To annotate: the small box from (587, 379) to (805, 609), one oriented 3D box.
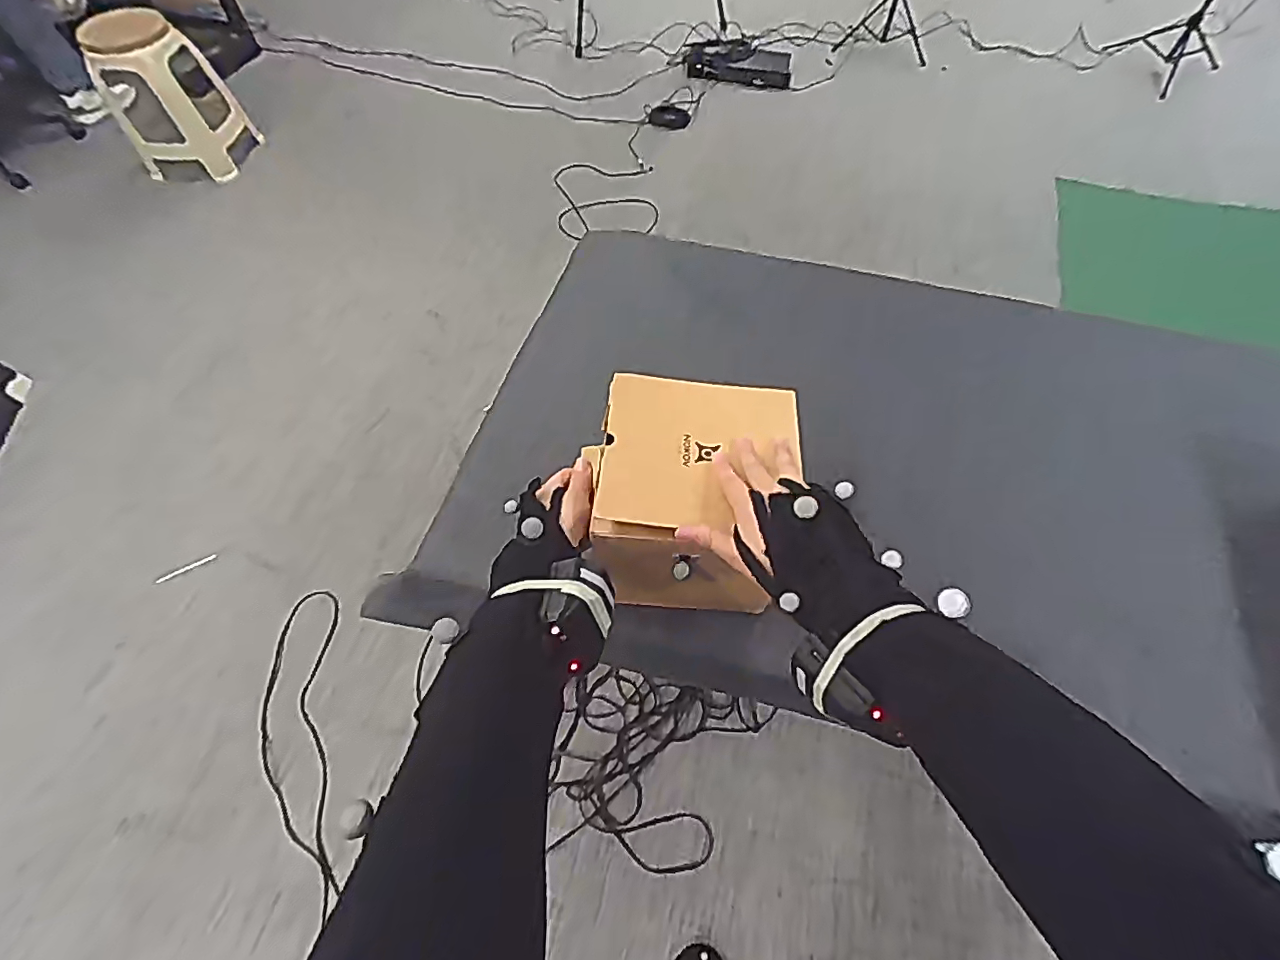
[{"bbox_3d":[0.051,0.022,0.537,0.179,0.176,0.168,4,59,3],"label":"small box"}]
